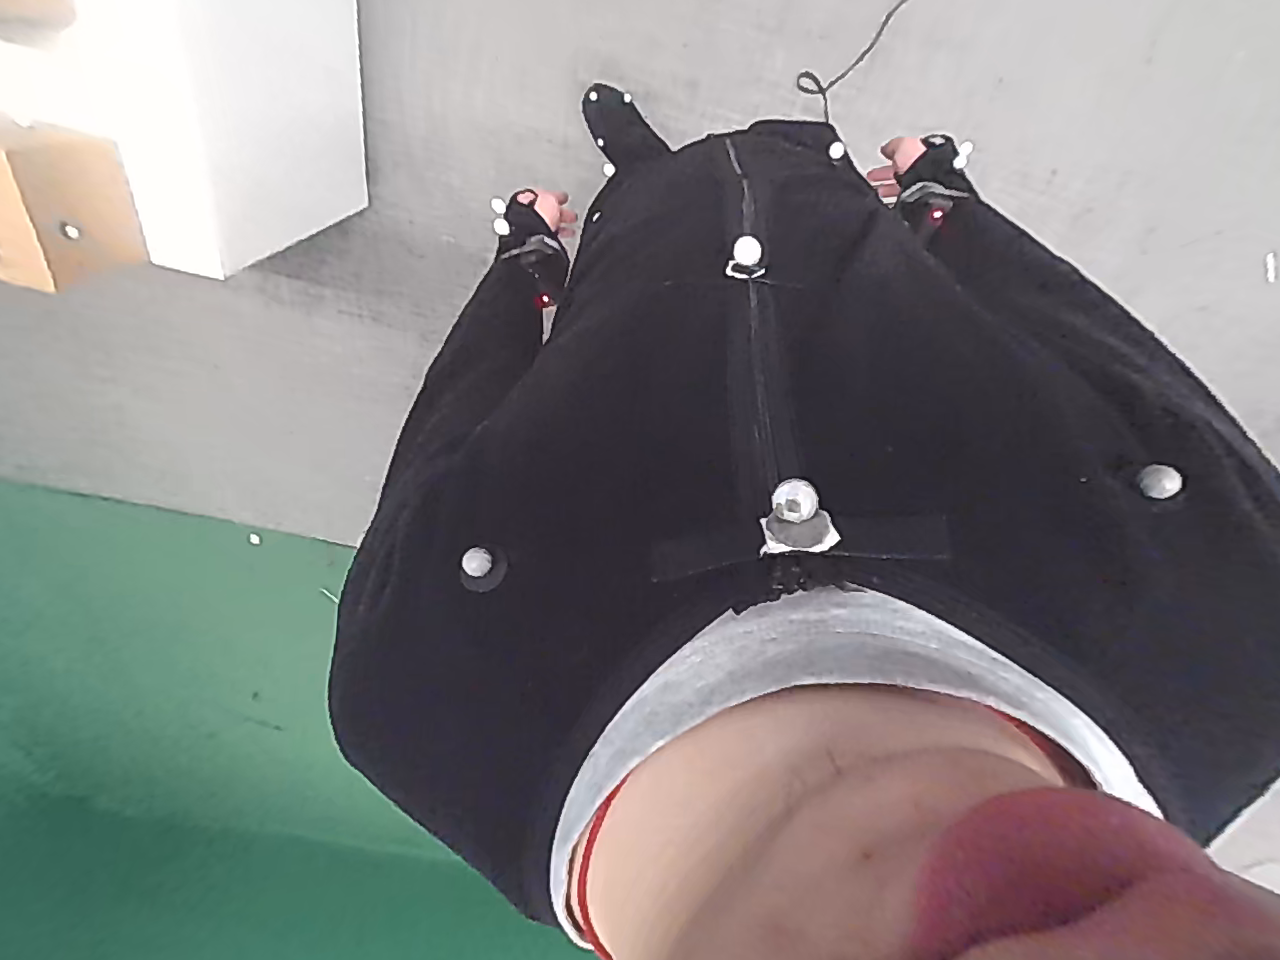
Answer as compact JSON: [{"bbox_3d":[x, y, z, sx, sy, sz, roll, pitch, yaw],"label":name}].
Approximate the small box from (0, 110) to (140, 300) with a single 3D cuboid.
[{"bbox_3d":[-0.824,-0.367,0.715,0.168,0.176,0.179,11,125,-8],"label":"small box"}]
